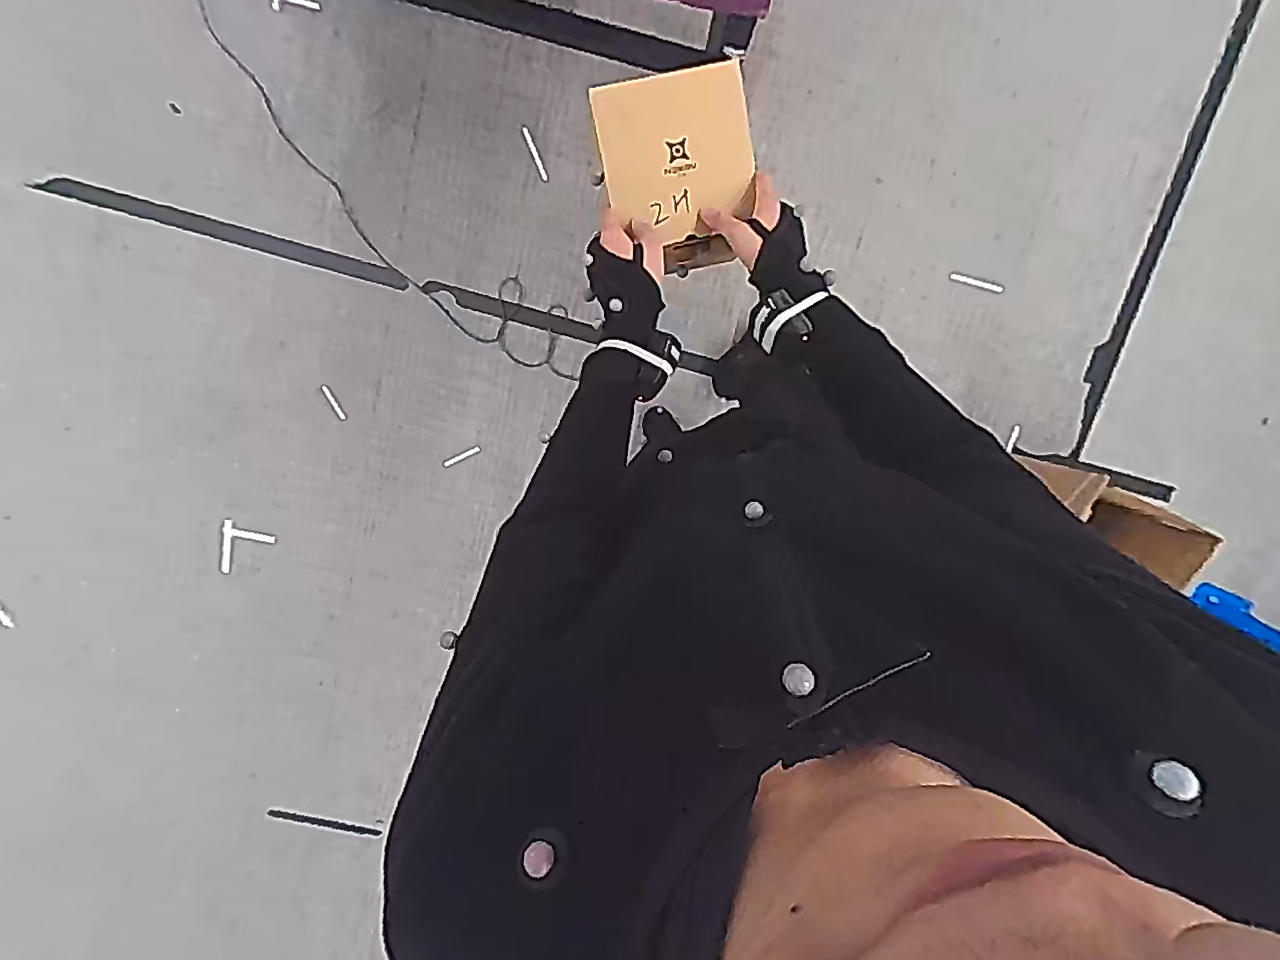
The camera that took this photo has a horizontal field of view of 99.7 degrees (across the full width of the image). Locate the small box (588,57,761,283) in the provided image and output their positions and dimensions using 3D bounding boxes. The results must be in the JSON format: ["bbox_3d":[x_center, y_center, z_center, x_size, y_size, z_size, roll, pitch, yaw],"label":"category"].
[{"bbox_3d":[0.037,-0.360,0.662,0.168,0.176,0.179,-12,100,1],"label":"small box"}]
